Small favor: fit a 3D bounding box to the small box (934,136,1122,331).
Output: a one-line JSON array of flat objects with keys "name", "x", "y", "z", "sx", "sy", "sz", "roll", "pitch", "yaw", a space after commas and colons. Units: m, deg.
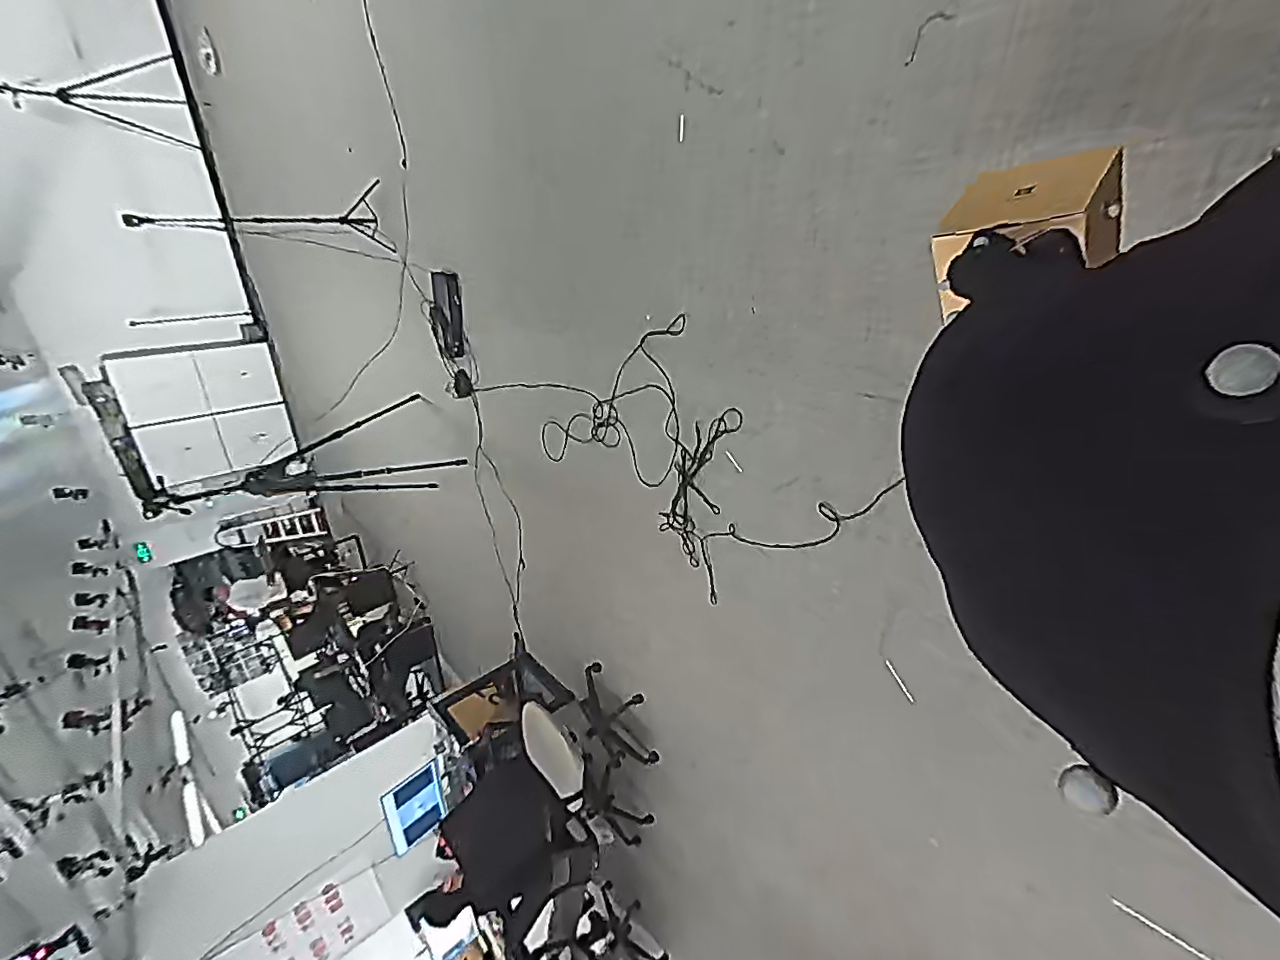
[{"name": "small box", "x": 0.533, "y": -0.327, "z": 0.745, "sx": 0.168, "sy": 0.179, "sz": 0.176, "roll": 13, "pitch": 146, "yaw": 47}]
